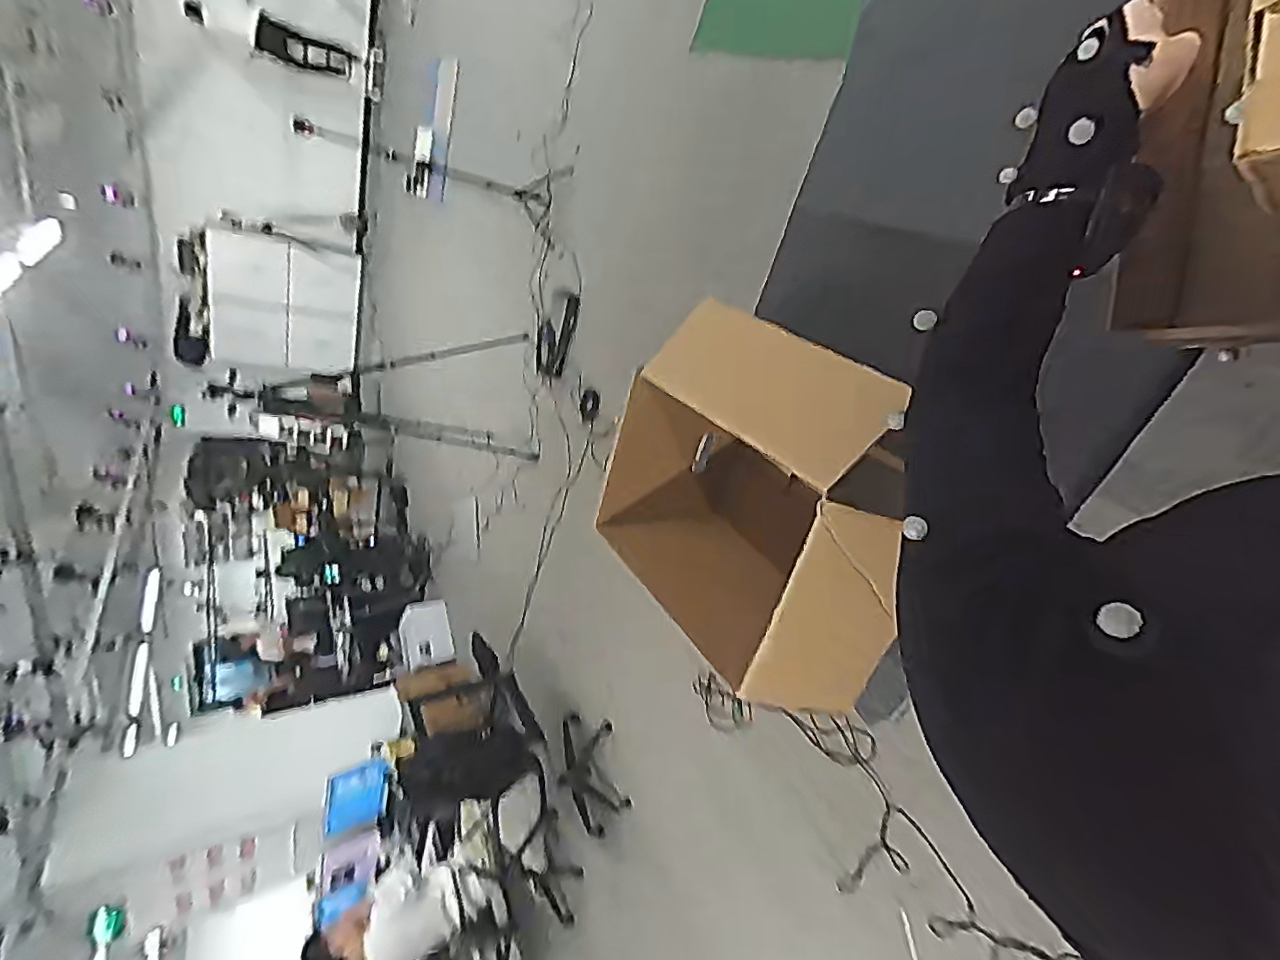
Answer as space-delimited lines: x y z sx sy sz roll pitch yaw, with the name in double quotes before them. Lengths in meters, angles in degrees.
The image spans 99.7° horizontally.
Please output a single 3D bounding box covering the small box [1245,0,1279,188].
"small box" 0.389 -0.222 0.210 0.179 0.176 0.168 12 107 52
